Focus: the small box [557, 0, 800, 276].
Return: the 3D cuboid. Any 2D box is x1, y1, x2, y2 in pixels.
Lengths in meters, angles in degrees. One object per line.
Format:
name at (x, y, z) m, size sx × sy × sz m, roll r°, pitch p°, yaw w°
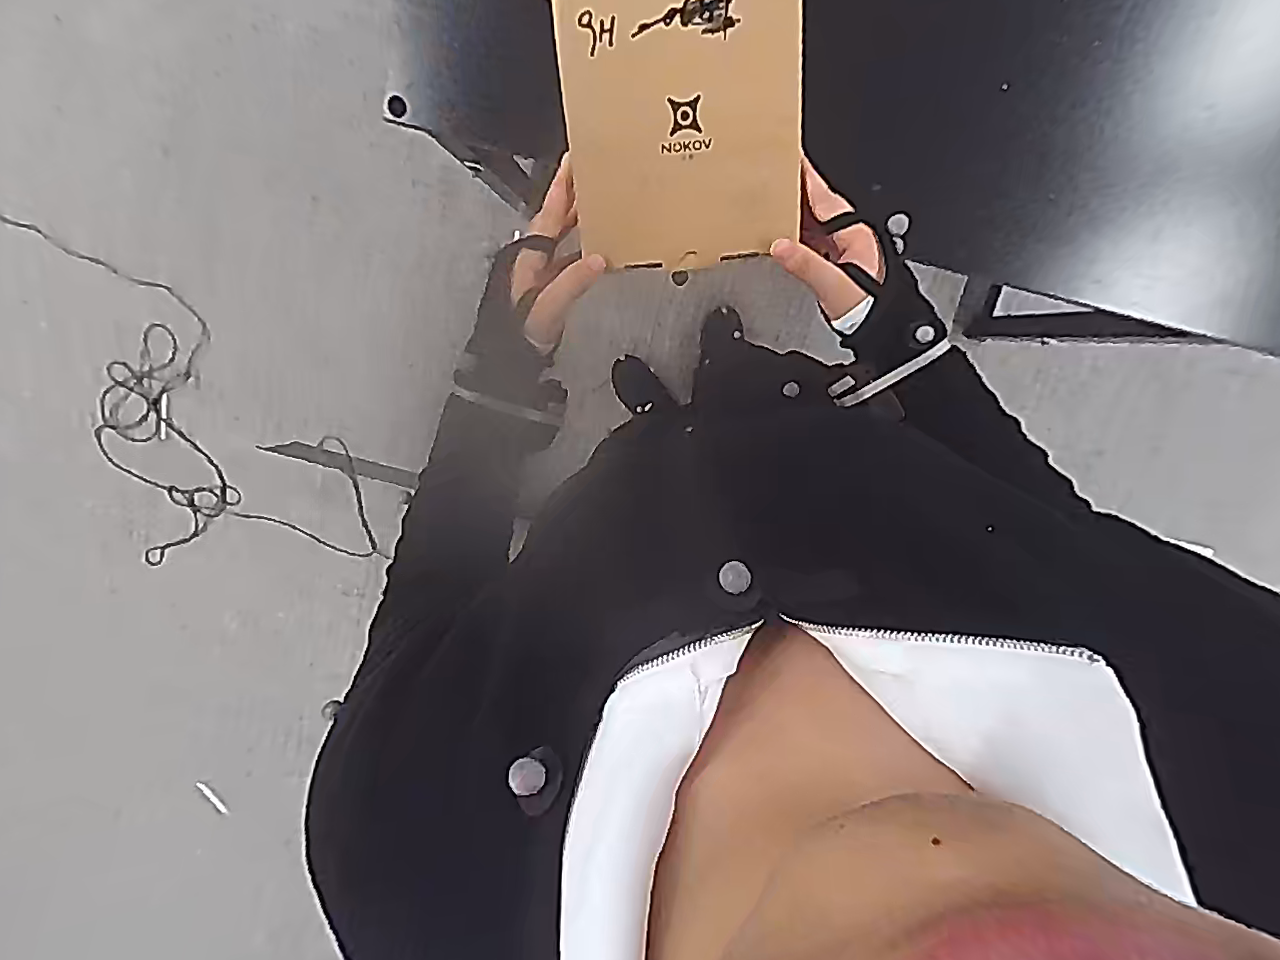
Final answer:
small box at (0.031, -0.278, 0.465) m, size 0.168 × 0.176 × 0.179 m, roll -5°, pitch 111°, yaw 1°
